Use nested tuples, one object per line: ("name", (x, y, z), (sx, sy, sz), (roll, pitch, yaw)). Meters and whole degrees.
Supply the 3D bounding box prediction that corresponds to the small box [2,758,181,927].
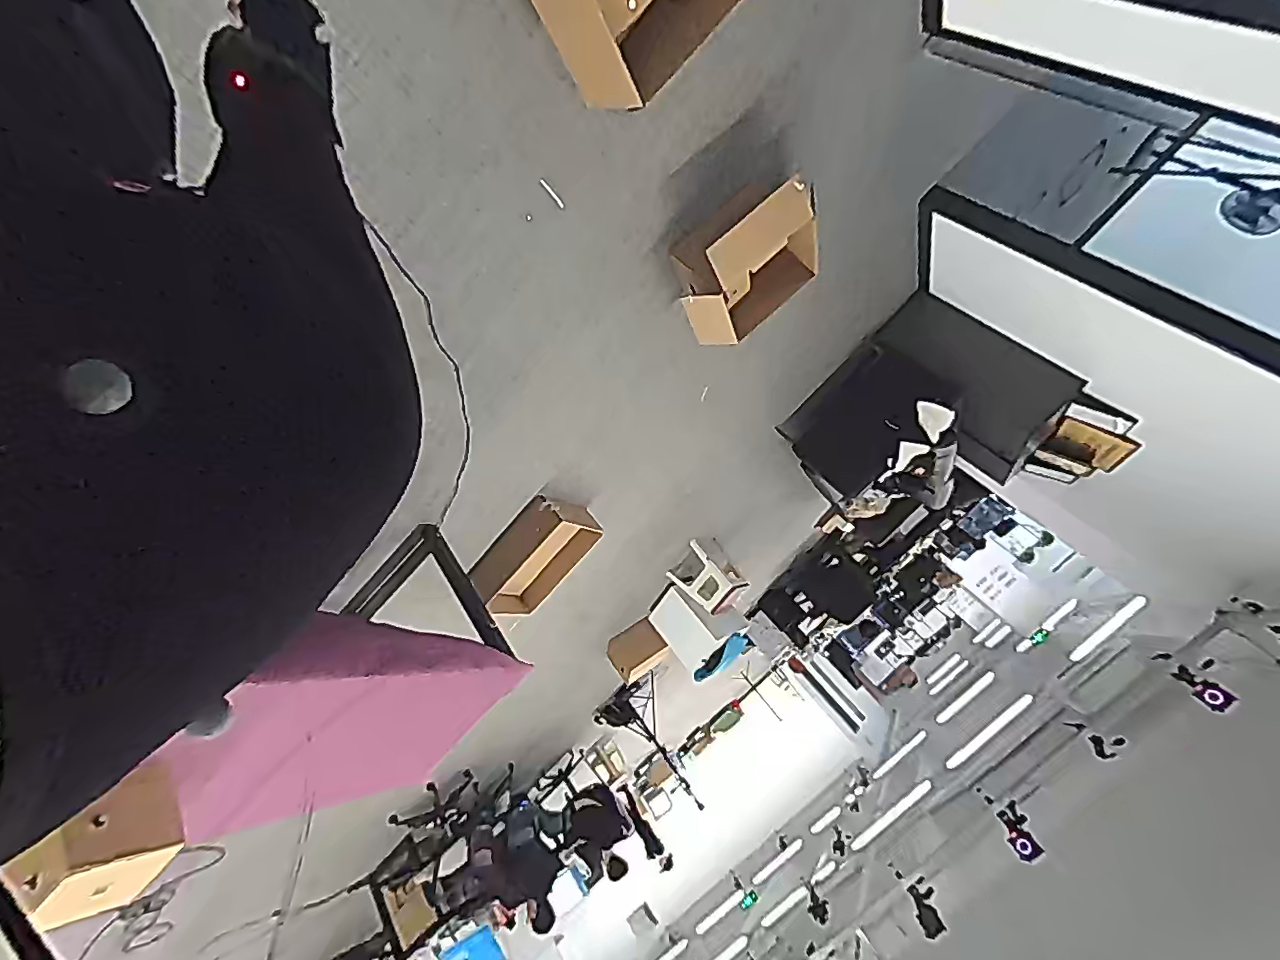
("small box", (-0.978, 0.622, 0.962), (0.179, 0.176, 0.168), (-45, 152, 6))
